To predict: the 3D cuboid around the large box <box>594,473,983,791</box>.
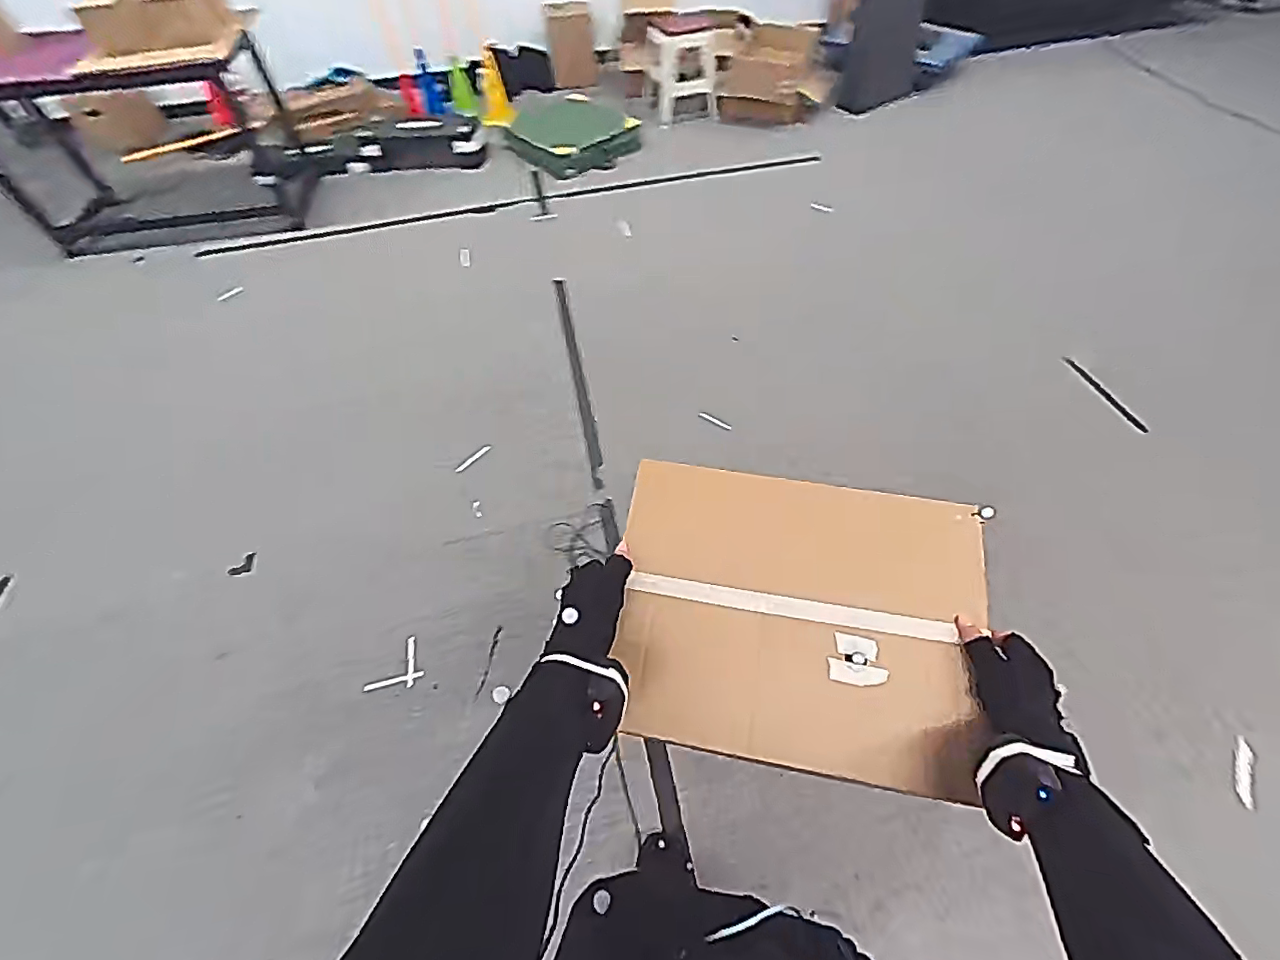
[{"bbox_3d":[0.173,0.213,0.749,0.408,0.320,0.320,8,66,7],"label":"large box"}]
